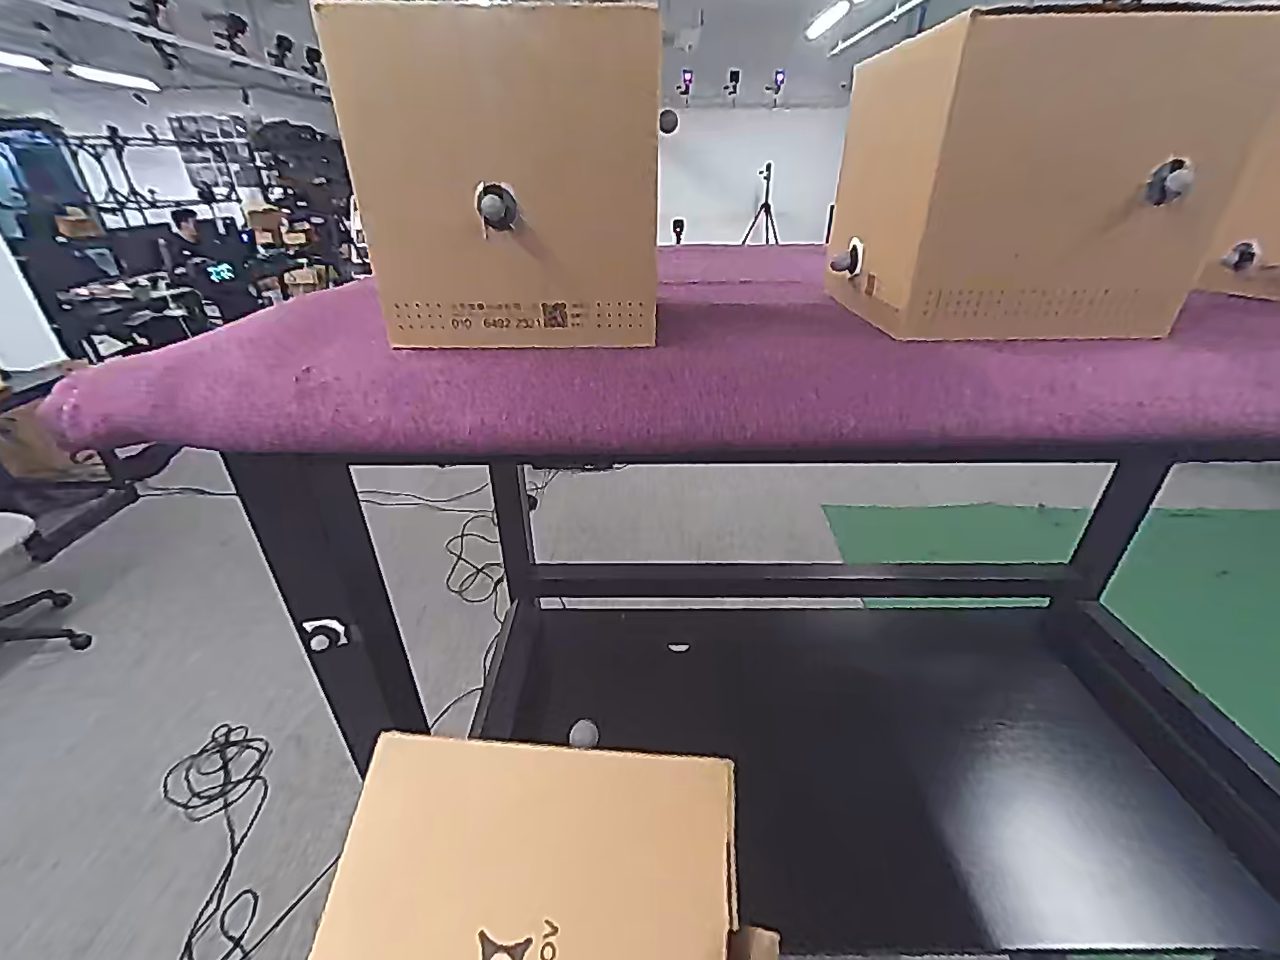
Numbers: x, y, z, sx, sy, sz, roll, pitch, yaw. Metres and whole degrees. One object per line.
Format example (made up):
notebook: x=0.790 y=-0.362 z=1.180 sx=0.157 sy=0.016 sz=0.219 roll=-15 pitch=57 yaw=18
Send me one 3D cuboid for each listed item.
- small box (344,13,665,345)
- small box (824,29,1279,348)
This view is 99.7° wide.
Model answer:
small box: x=-0.068 y=-0.198 z=0.380 sx=0.168 sy=0.176 sz=0.179 roll=1 pitch=29 yaw=-2
small box: x=0.253 y=-0.198 z=0.389 sx=0.179 sy=0.176 sz=0.168 roll=-1 pitch=28 yaw=-1
